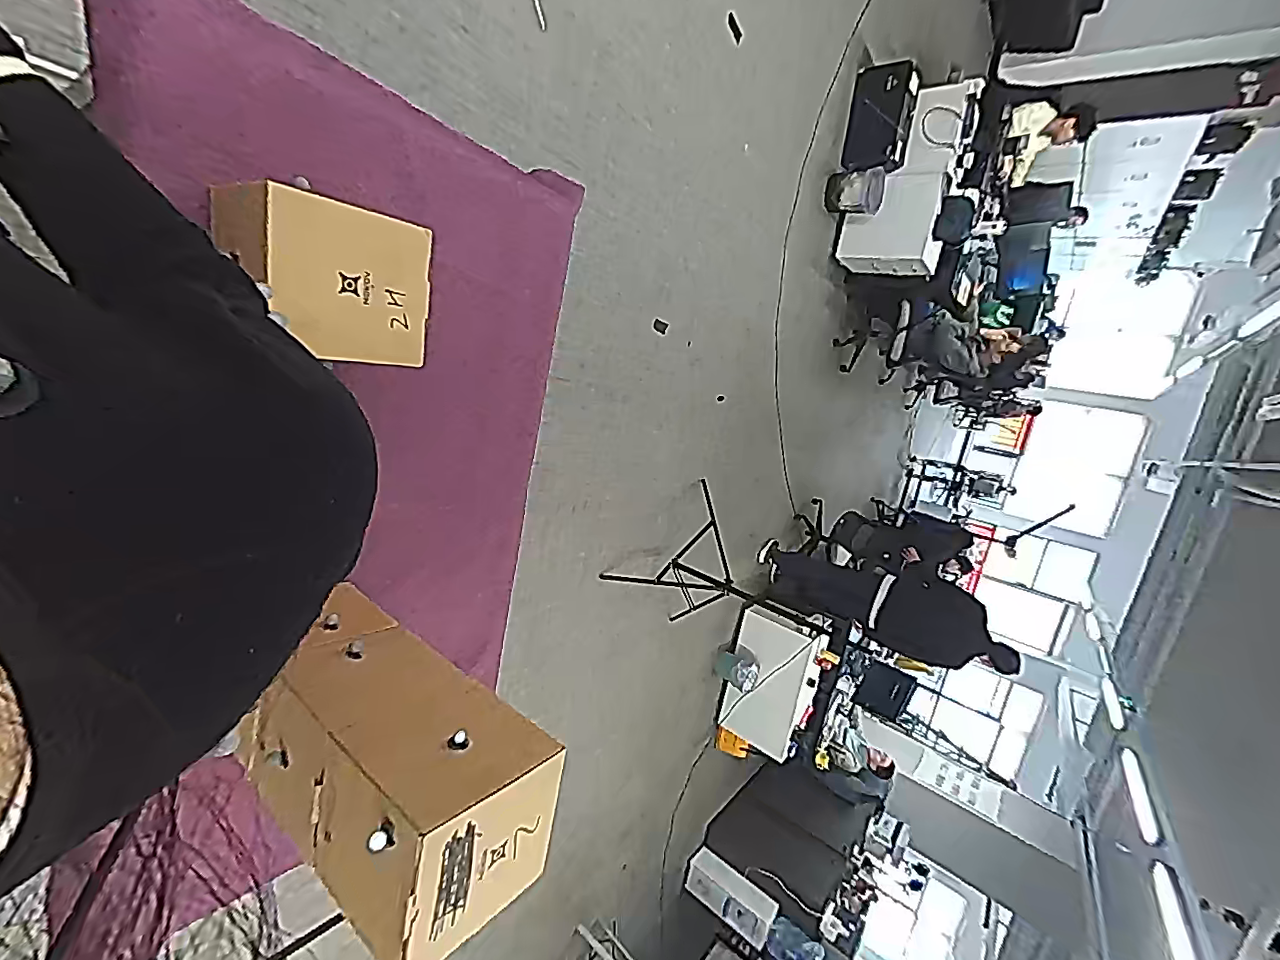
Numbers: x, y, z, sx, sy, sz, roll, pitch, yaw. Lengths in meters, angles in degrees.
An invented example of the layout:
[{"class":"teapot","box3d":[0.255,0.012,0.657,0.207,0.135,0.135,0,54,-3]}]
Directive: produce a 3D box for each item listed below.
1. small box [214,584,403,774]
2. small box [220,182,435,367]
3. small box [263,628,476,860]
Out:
[{"class":"small box","box3d":[-0.468,0.262,0.761,0.179,0.176,0.168,-2,107,-54]},{"class":"small box","box3d":[-0.376,-0.236,0.648,0.179,0.176,0.168,-9,113,-53]},{"class":"small box","box3d":[-0.337,0.306,0.672,0.179,0.176,0.168,0,105,-54]}]
